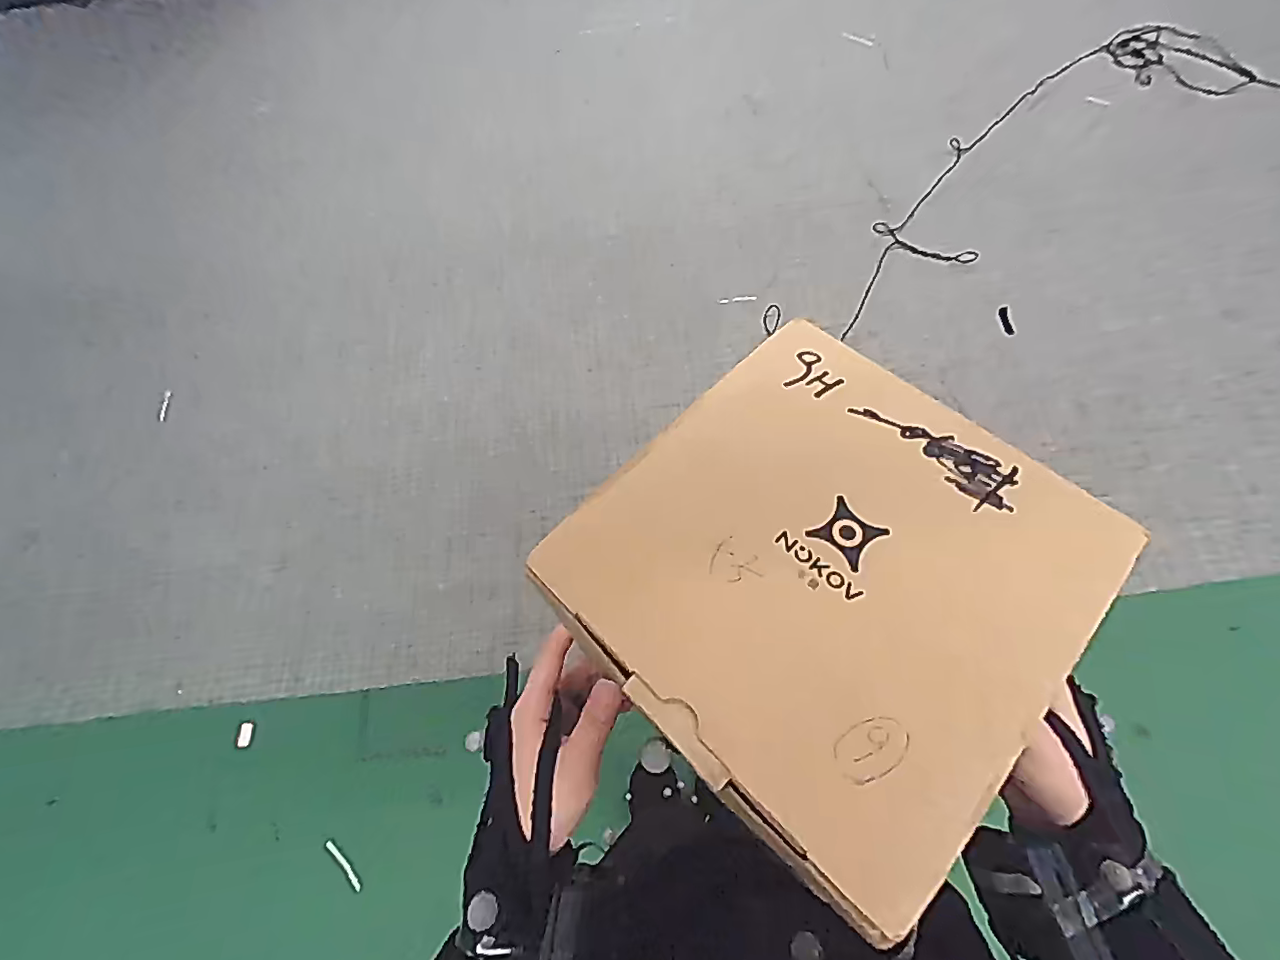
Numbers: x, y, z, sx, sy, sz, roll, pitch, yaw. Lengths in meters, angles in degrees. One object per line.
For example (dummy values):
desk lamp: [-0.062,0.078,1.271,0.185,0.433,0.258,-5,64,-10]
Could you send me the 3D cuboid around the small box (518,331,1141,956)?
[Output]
small box: [0.073,0.069,0.274,0.179,0.176,0.168,-42,67,-17]
